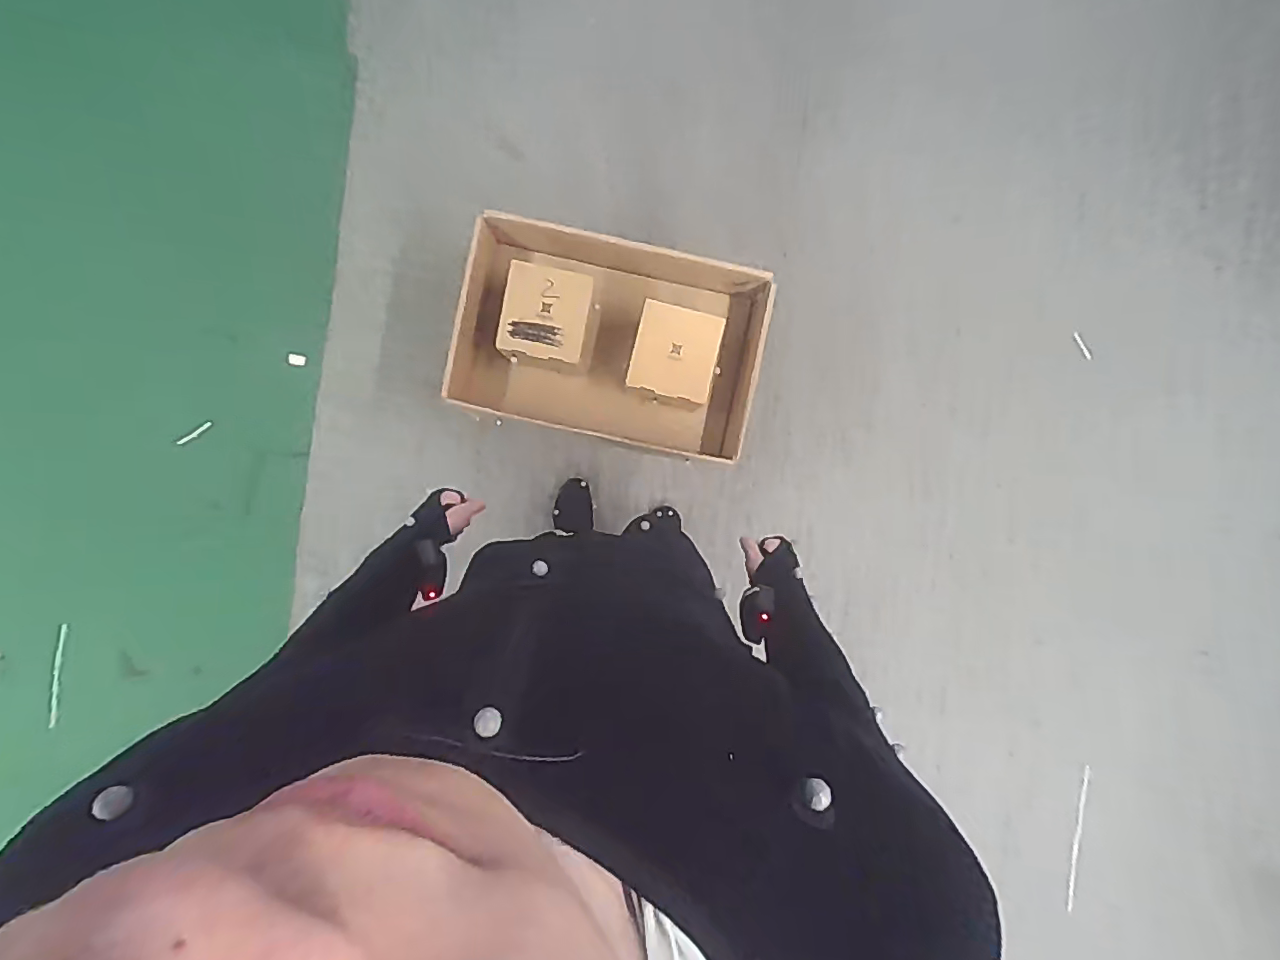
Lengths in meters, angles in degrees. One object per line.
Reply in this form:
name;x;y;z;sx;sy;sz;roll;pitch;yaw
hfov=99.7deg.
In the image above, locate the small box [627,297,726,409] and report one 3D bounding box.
small box;0.068;-0.255;1.128;0.168;0.176;0.179;13;92;-2
